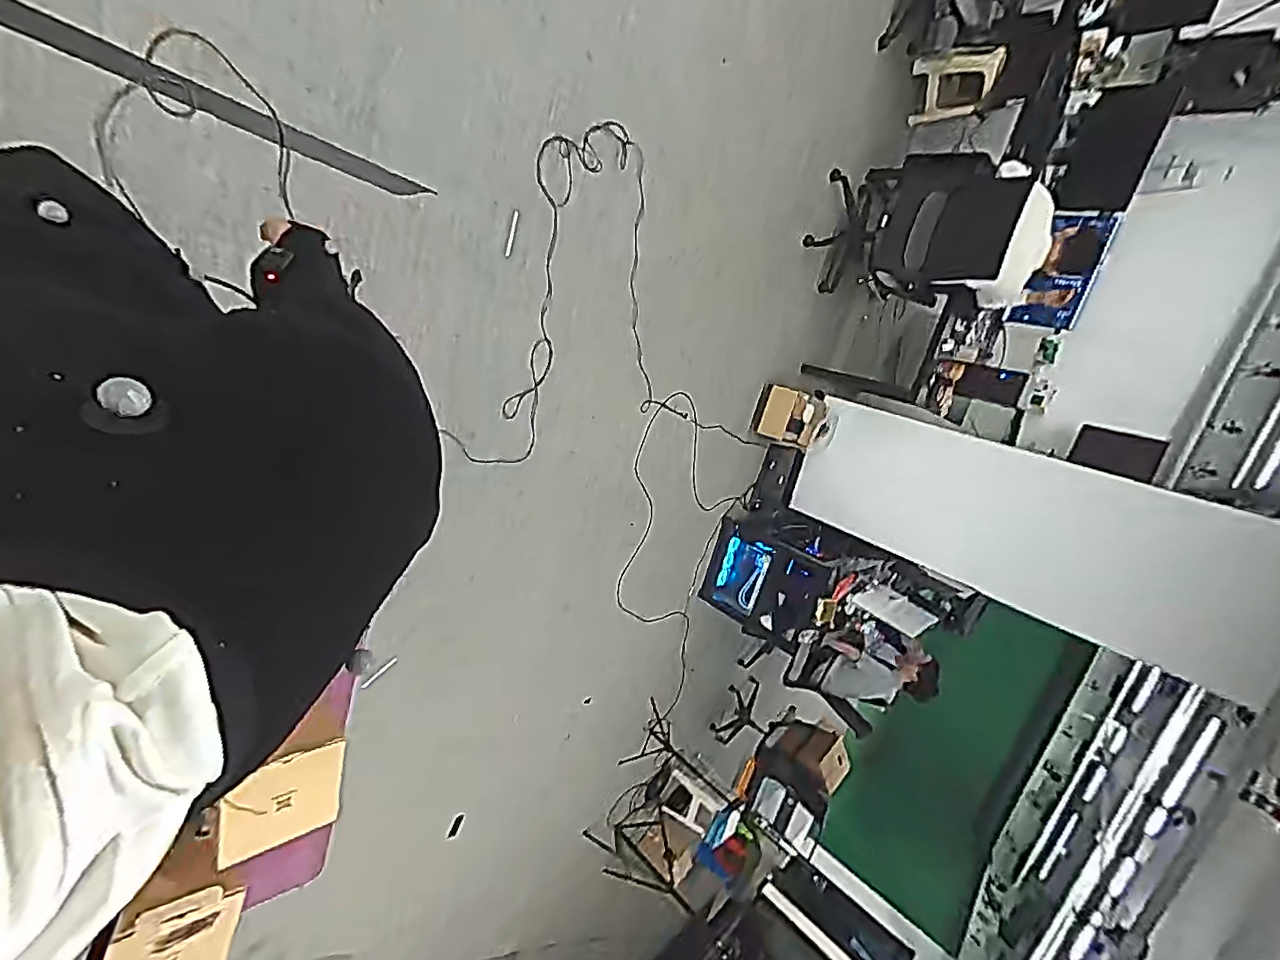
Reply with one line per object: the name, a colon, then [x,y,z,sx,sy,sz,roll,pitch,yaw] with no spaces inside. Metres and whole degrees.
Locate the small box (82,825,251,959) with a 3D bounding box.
small box: [-0.758,0.693,0.863,0.168,0.176,0.179,10,102,-50]

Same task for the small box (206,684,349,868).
small box: [-0.611,0.481,0.908,0.168,0.176,0.179,-3,112,-46]
